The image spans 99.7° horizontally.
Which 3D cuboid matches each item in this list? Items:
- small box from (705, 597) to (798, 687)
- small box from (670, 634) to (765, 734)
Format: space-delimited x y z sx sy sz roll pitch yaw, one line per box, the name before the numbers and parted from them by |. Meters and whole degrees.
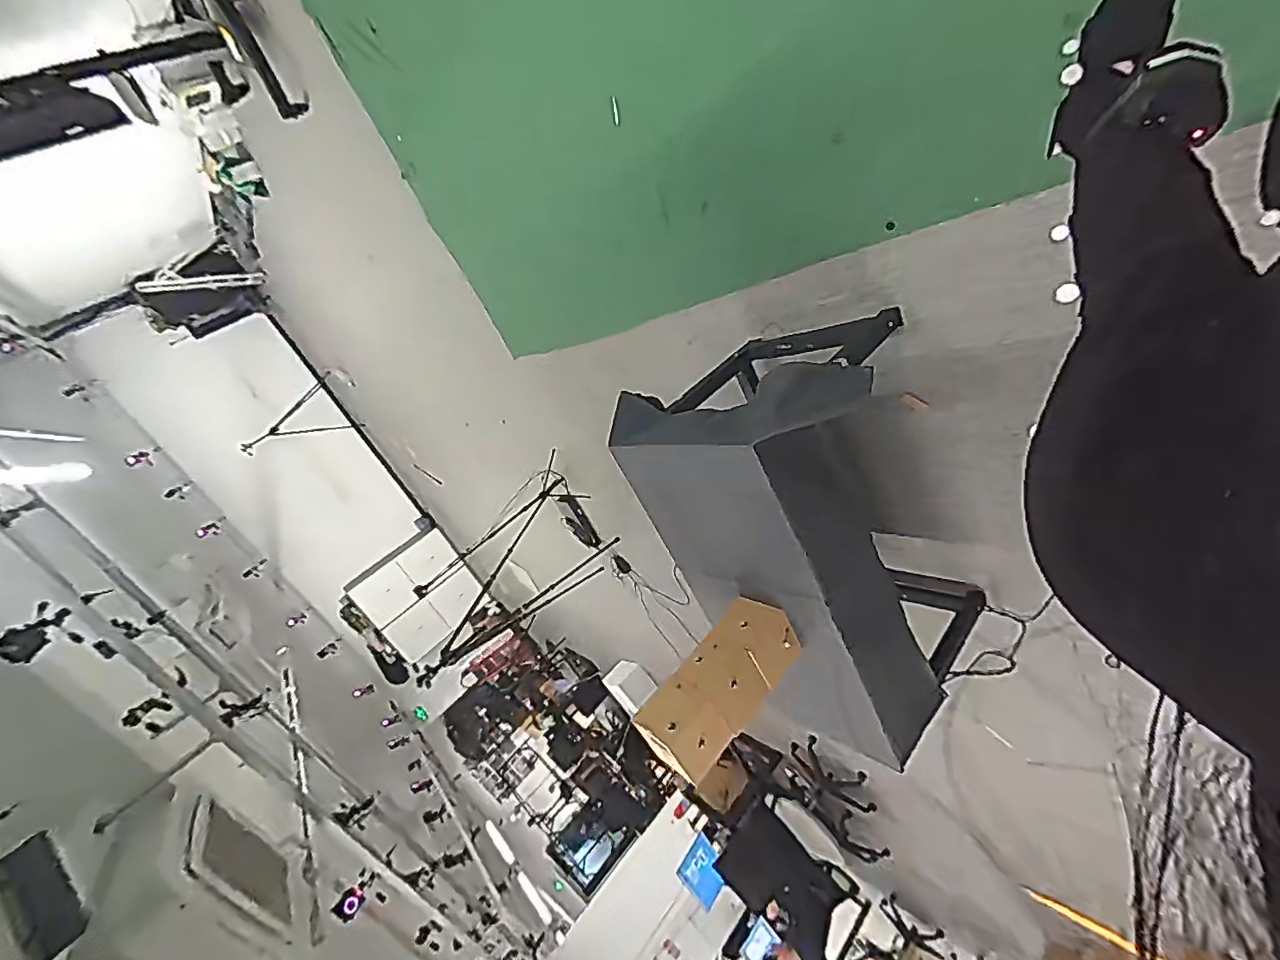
small box | 0.332 0.470 1.601 0.179 0.176 0.168 5 130 53
small box | 0.222 0.569 1.532 0.168 0.176 0.179 3 129 56
